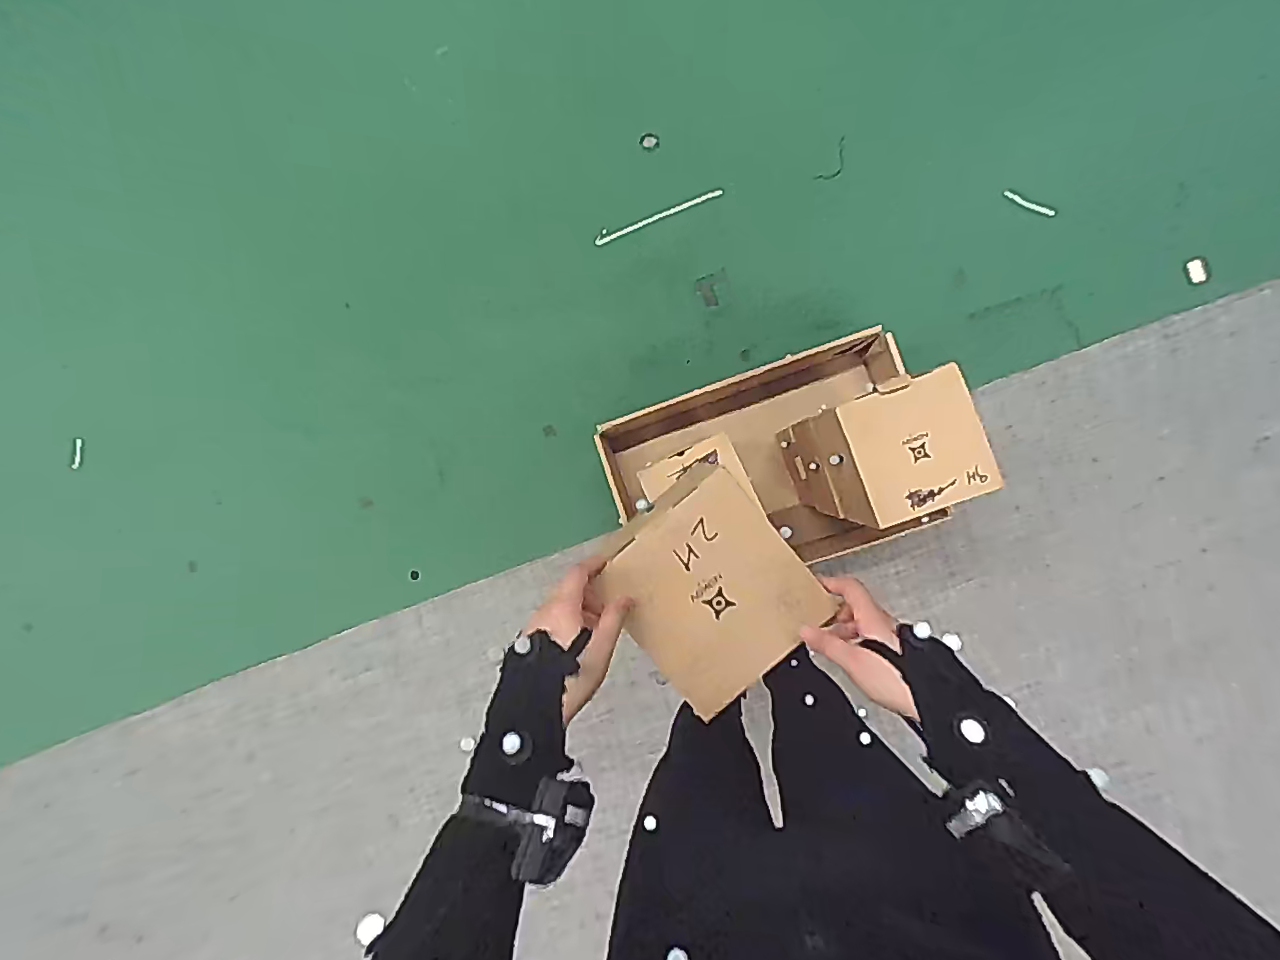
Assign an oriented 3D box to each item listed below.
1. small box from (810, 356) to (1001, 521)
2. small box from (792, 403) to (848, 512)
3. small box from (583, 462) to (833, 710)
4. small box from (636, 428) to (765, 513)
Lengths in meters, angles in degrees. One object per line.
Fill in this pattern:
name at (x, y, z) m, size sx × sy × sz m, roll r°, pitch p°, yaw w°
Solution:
small box at (0.363, -0.051, 0.776) m, size 0.168 × 0.176 × 0.179 m, roll -21°, pitch 88°, yaw 6°
small box at (0.378, -0.053, 0.940) m, size 0.168 × 0.176 × 0.179 m, roll -18°, pitch 90°, yaw 6°
small box at (0.061, 0.093, 0.571) m, size 0.168 × 0.176 × 0.179 m, roll -40°, pitch 93°, yaw 0°
small box at (0.104, 0.025, 0.962) m, size 0.168 × 0.176 × 0.179 m, roll -26°, pitch 90°, yaw 4°
